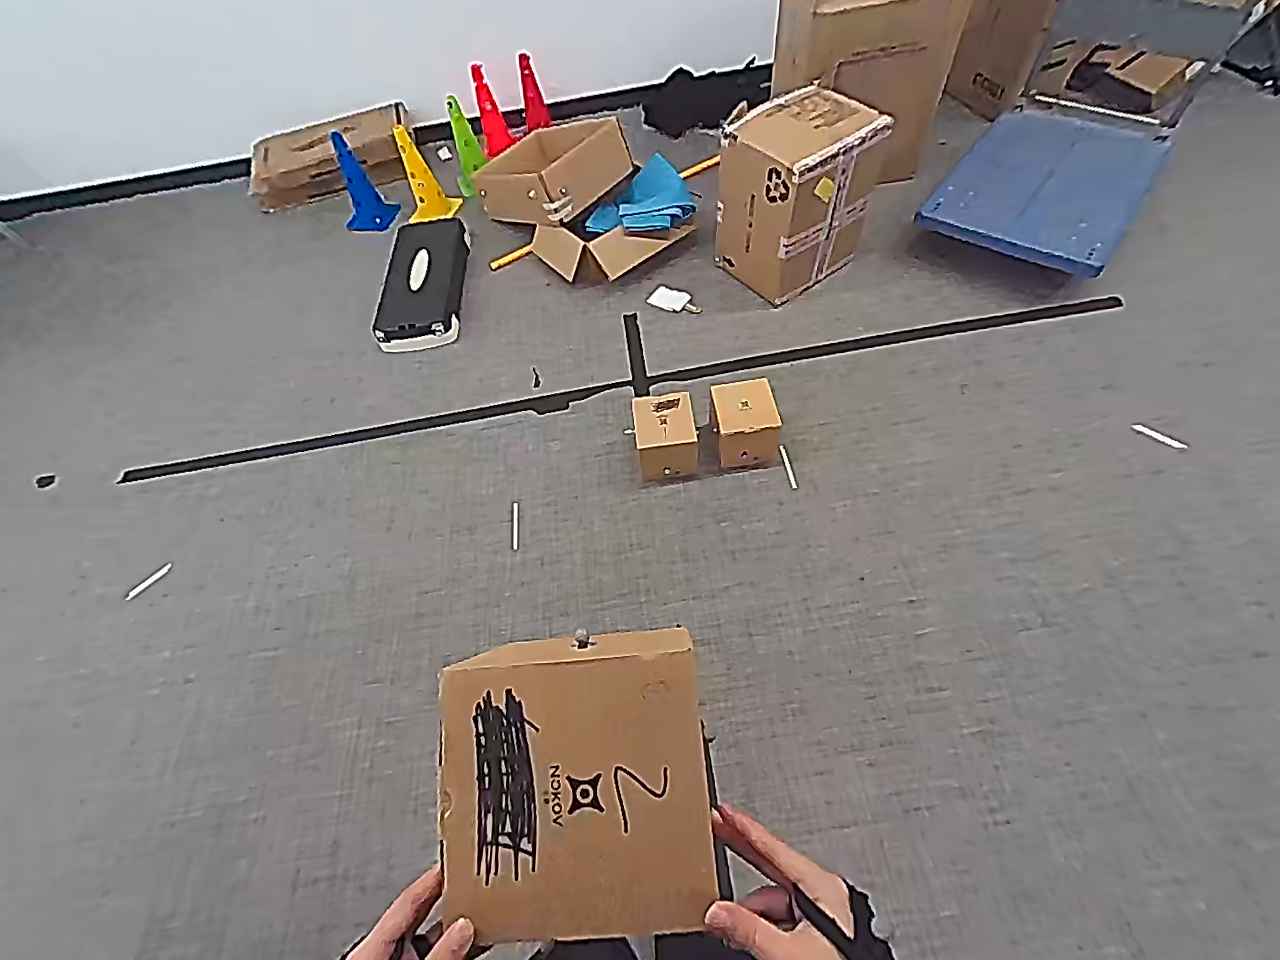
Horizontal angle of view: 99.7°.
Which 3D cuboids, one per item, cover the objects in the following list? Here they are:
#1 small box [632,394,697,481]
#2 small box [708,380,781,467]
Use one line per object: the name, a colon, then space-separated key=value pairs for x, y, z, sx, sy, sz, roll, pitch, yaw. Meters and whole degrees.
small box: x=0.070 y=-0.120 z=1.551 sx=0.168 sy=0.176 sz=0.179 roll=-7 pitch=58 yaw=2
small box: x=0.293 y=-0.160 z=1.555 sx=0.168 sy=0.176 sz=0.179 roll=-9 pitch=58 yaw=0
